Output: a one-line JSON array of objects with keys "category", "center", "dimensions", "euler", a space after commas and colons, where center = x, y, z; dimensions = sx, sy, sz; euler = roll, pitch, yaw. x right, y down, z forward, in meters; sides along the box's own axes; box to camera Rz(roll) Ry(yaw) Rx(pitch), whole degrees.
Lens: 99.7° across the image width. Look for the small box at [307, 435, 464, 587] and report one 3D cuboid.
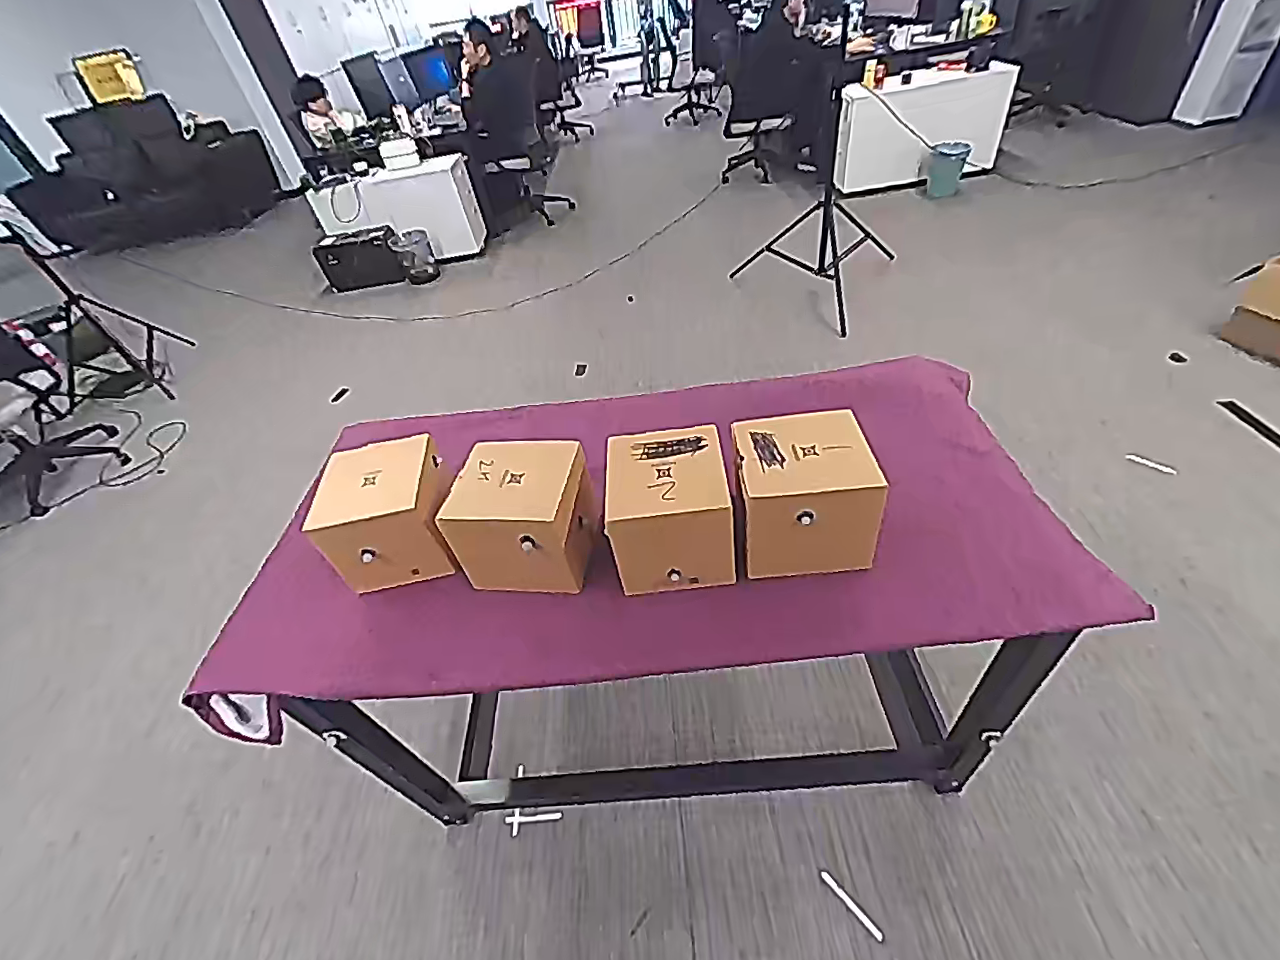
[{"category": "small box", "center": [-0.402, 0.057, 0.890], "dimensions": [0.168, 0.176, 0.179], "euler": [-13, 44, -1]}]
